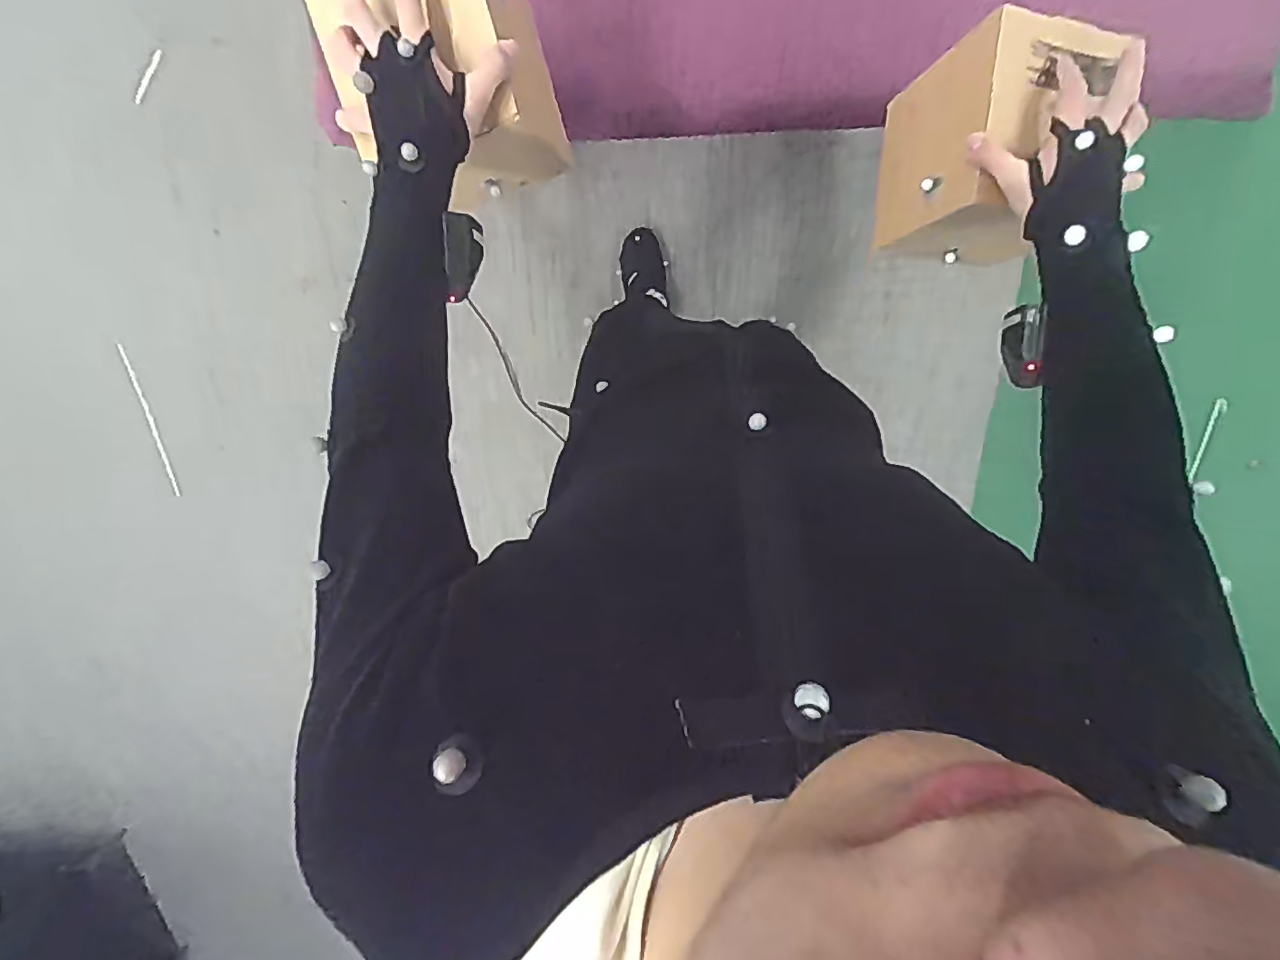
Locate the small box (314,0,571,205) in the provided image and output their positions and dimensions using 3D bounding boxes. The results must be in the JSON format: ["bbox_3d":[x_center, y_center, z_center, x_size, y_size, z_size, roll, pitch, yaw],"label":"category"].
[{"bbox_3d":[-0.190,-0.416,0.562,0.168,0.176,0.179,-12,103,15],"label":"small box"}]

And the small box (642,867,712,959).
[{"bbox_3d":[0.103,1.231,1.529,0.168,0.176,0.179,-11,112,7],"label":"small box"}]
